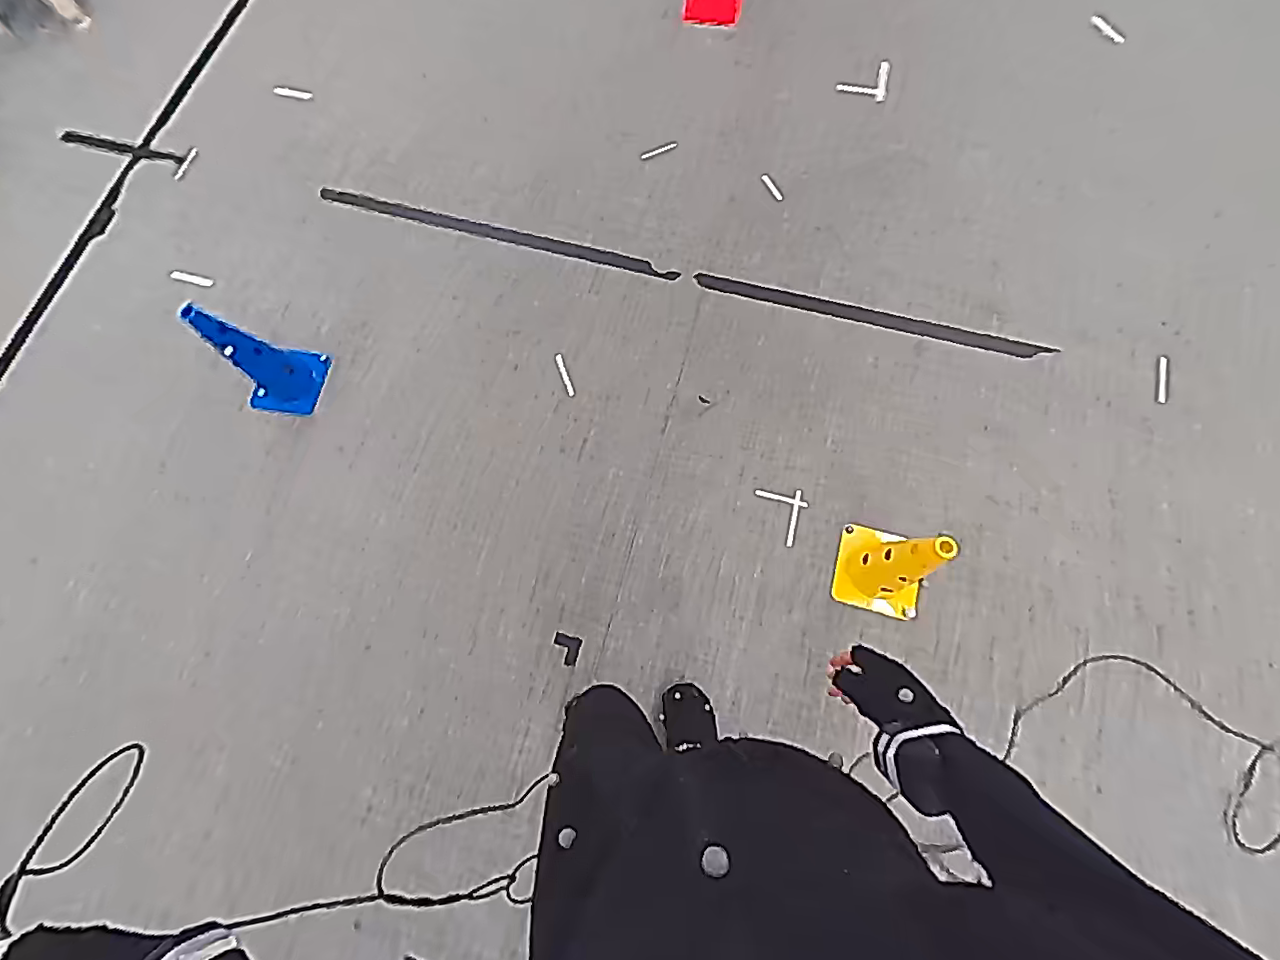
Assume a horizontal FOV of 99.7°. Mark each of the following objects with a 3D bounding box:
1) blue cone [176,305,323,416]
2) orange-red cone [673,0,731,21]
[{"bbox_3d":[-1.052,-0.330,1.431,0.193,0.380,0.192,9,74,7],"label":"blue cone"},{"bbox_3d":[0.217,-1.778,1.786,0.199,0.360,0.198,10,73,8],"label":"orange-red cone"}]
